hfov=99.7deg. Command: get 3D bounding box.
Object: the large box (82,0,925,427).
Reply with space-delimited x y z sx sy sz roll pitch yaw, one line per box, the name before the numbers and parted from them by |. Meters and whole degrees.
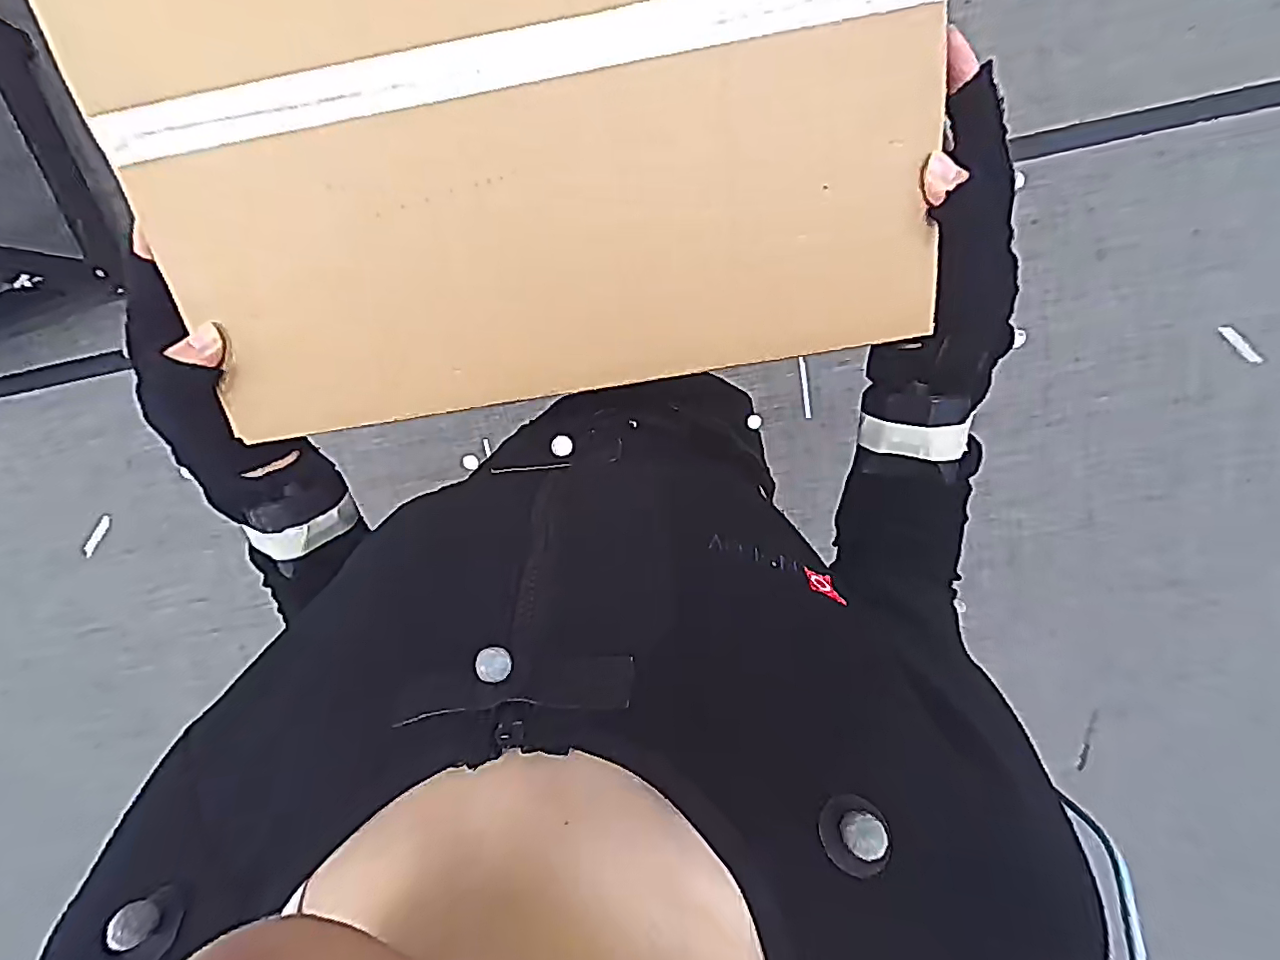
large box | -0.062 -0.256 0.405 0.408 0.320 0.320 -9 112 3
